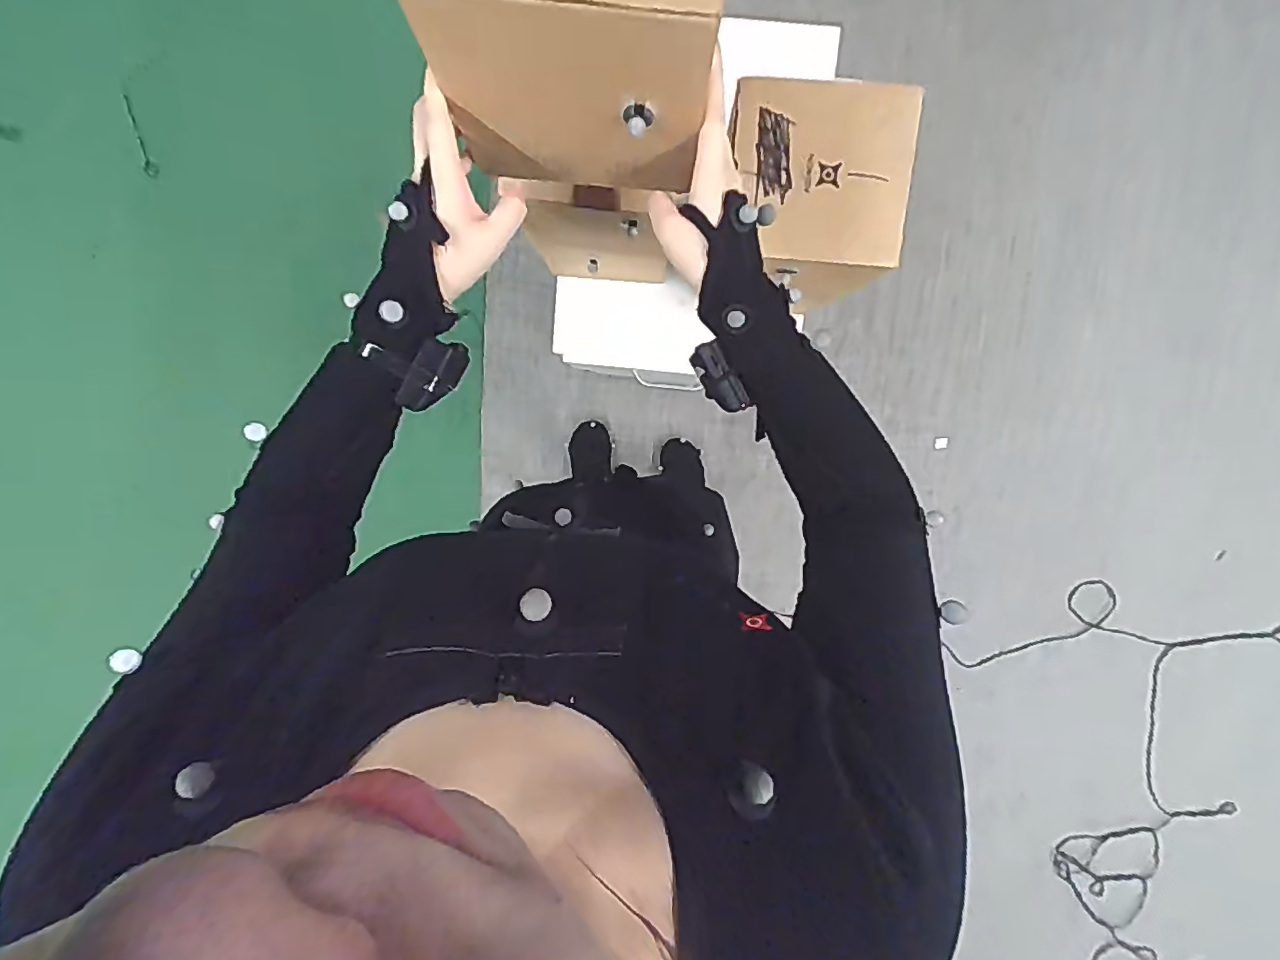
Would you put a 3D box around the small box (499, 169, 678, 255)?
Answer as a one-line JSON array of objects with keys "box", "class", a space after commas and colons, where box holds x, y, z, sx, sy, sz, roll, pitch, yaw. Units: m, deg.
[{"box": [-0.045, -0.364, 0.602, 0.179, 0.176, 0.168, 6, 97, -3], "class": "small box"}]

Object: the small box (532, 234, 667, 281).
[{"box": [-0.046, -0.388, 0.764, 0.179, 0.176, 0.168, 5, 98, -1], "class": "small box"}]

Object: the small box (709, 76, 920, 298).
[{"box": [0.176, -0.309, 0.605, 0.179, 0.176, 0.168, 5, 98, 1], "class": "small box"}]

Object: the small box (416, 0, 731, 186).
[{"box": [-0.034, -0.333, 0.373, 0.179, 0.176, 0.168, 5, 86, -1], "class": "small box"}]
